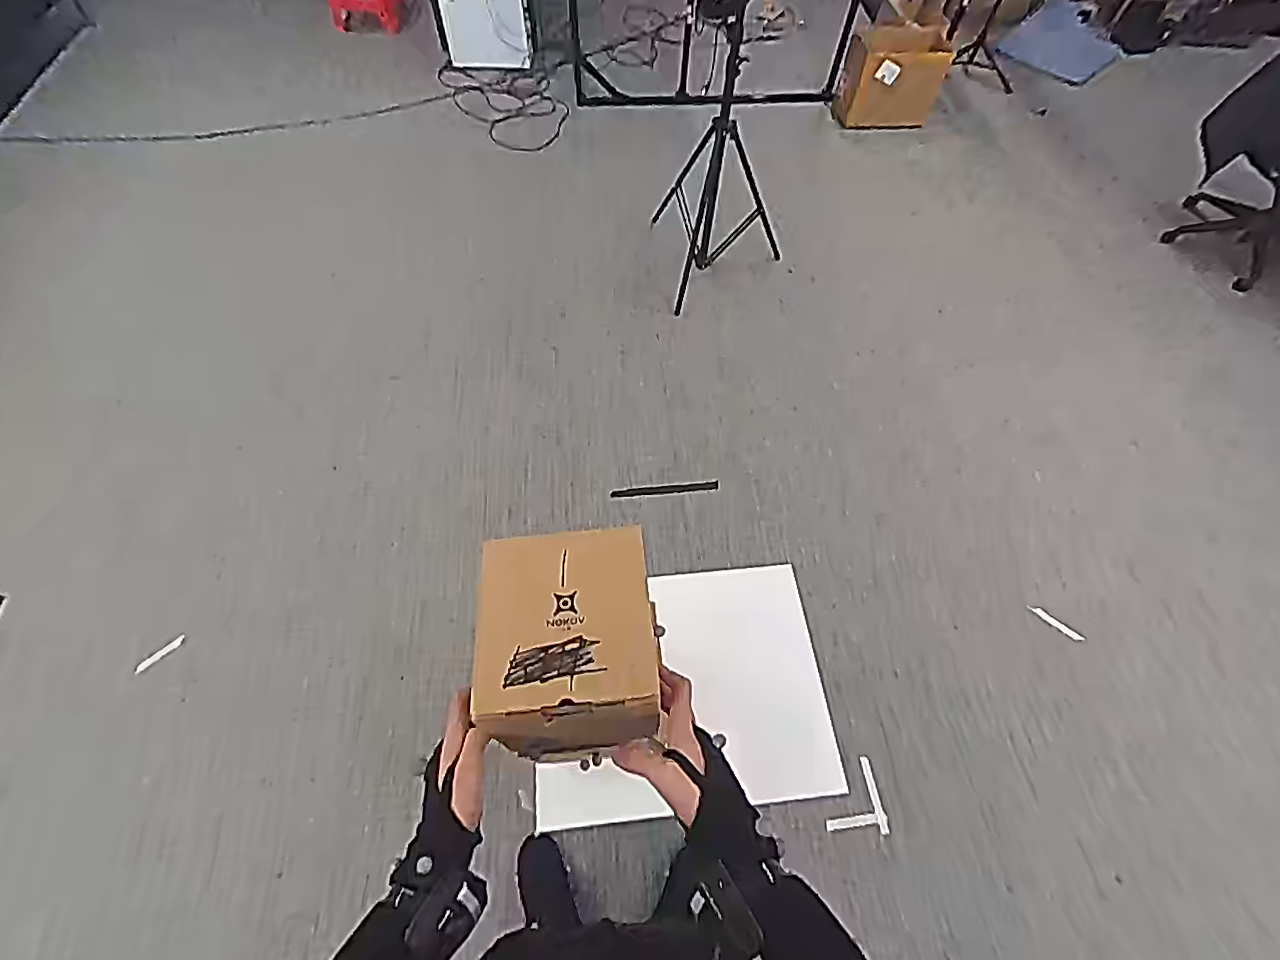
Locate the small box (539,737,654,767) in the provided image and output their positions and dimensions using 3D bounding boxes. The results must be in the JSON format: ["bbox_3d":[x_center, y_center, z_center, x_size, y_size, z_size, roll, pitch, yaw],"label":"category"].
[{"bbox_3d":[-0.067,0.353,0.860,0.168,0.176,0.179,-3,60,-4],"label":"small box"}]

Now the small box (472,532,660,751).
[{"bbox_3d":[-0.067,0.177,0.573,0.168,0.176,0.179,-5,54,-3],"label":"small box"}]
